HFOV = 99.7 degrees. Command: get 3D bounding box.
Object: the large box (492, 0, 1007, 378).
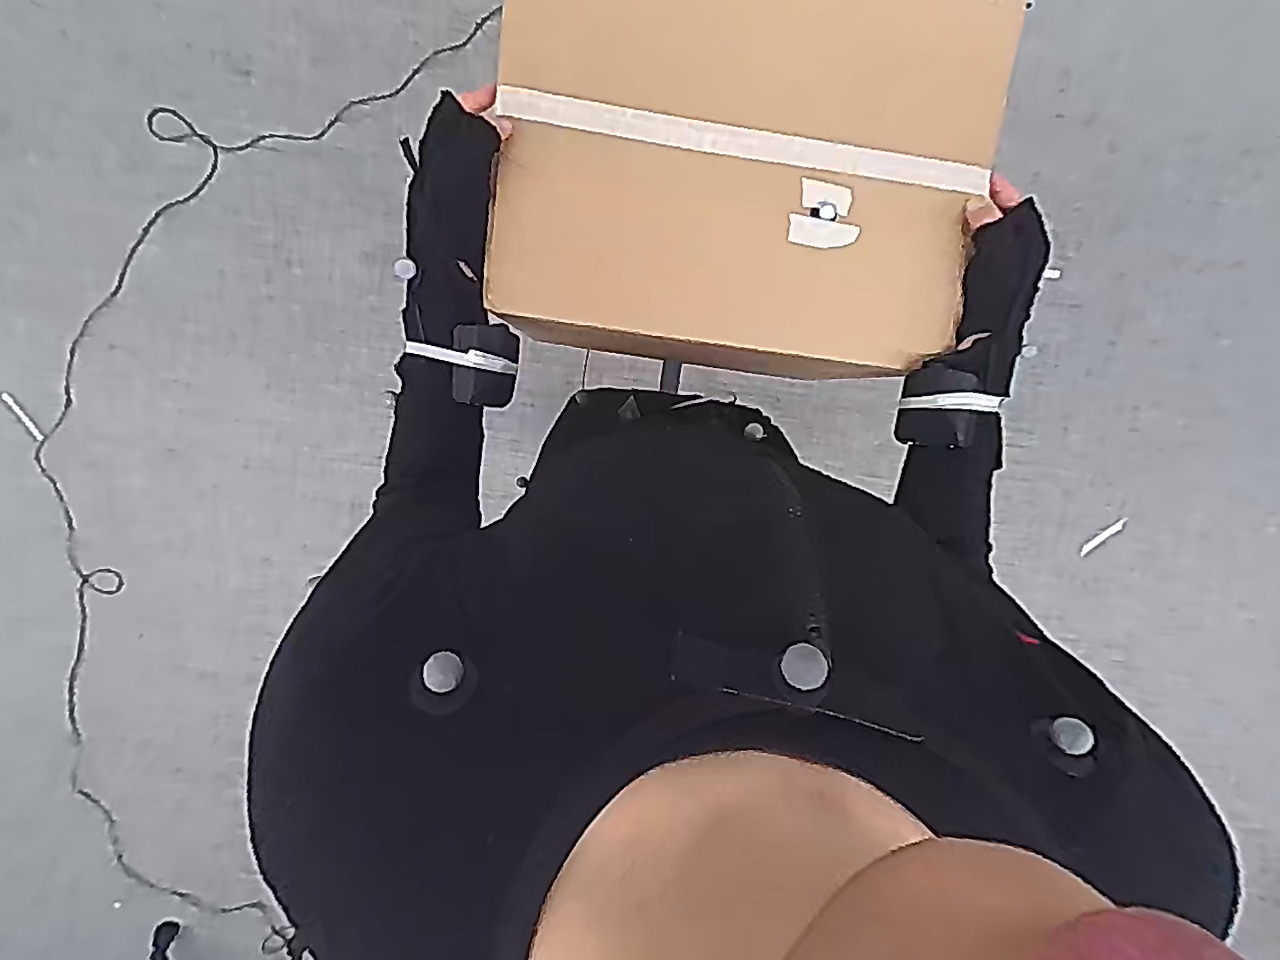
[{"bbox_3d":[0.074,-0.291,0.592,0.408,0.320,0.320,7,100,-6],"label":"large box"}]
